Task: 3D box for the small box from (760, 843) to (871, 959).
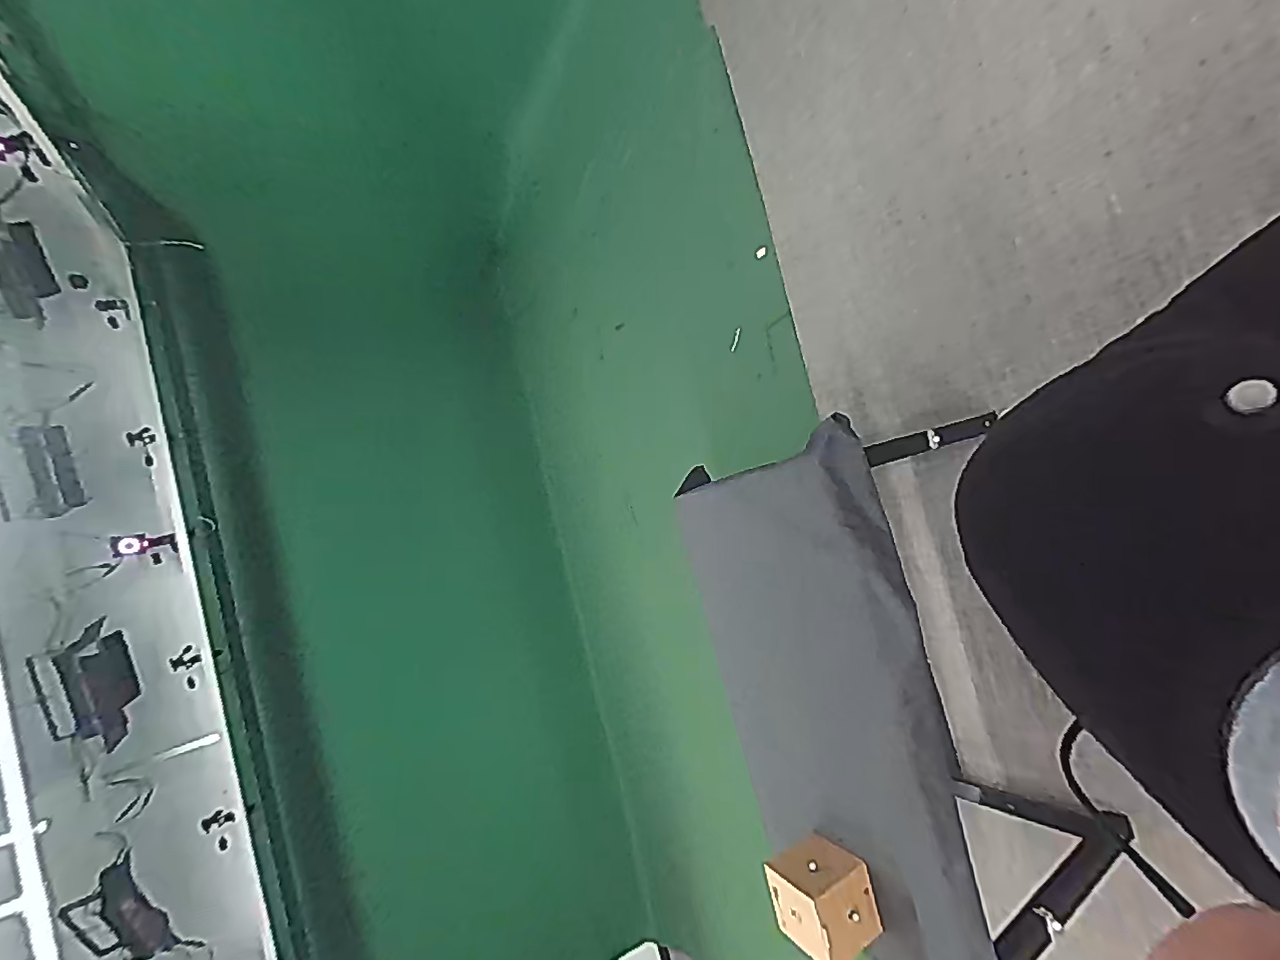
[{"bbox_3d":[0.419,1.006,1.277,0.179,0.176,0.168,-19,84,60],"label":"small box"}]
